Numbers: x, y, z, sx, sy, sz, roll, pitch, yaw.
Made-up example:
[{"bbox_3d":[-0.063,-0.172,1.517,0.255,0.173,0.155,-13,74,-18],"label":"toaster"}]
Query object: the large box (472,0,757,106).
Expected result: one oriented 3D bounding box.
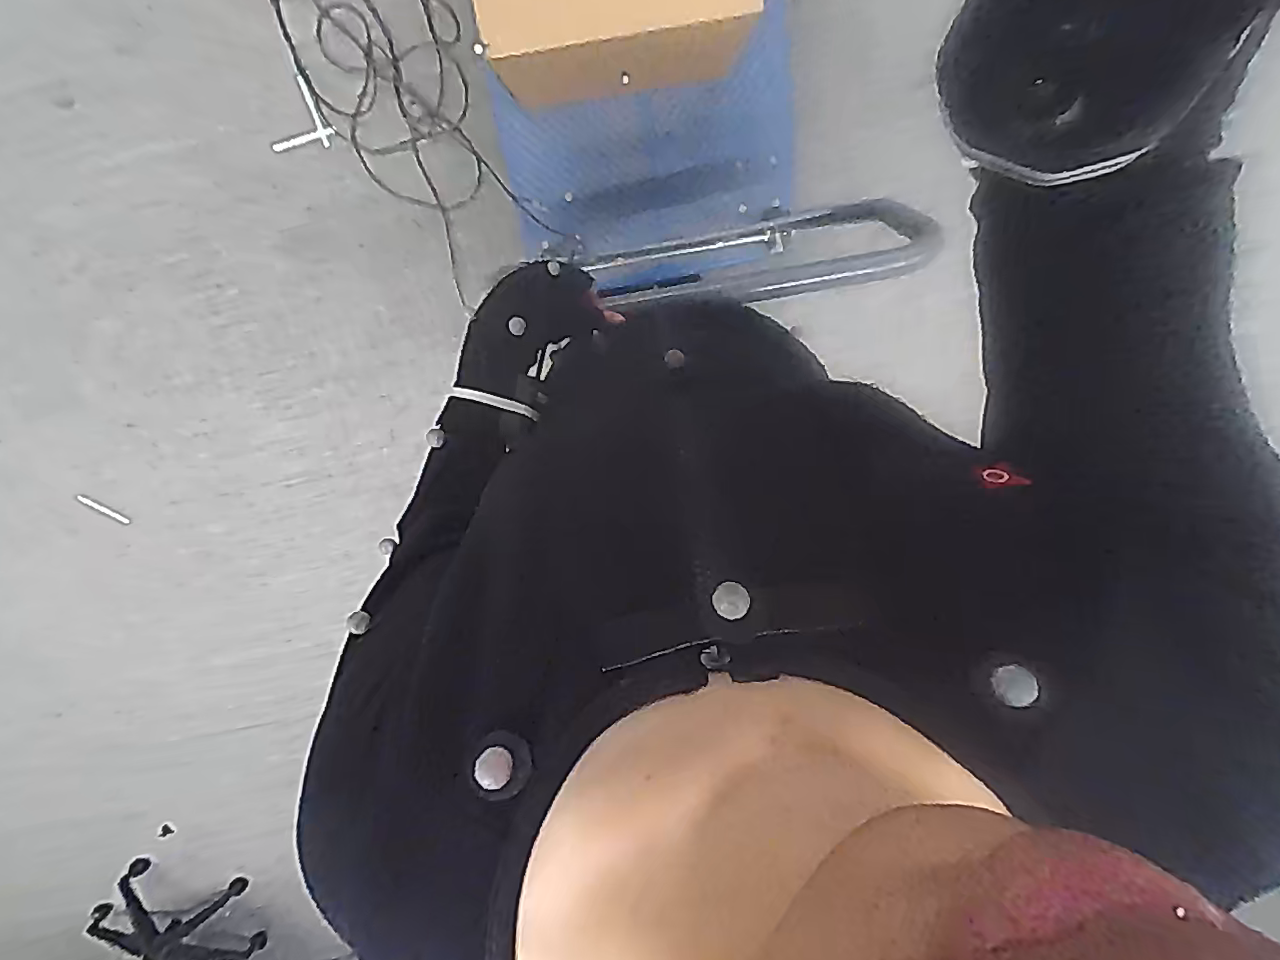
[{"bbox_3d":[-0.054,-0.834,0.852,0.408,0.320,0.320,-8,113,2],"label":"large box"}]
